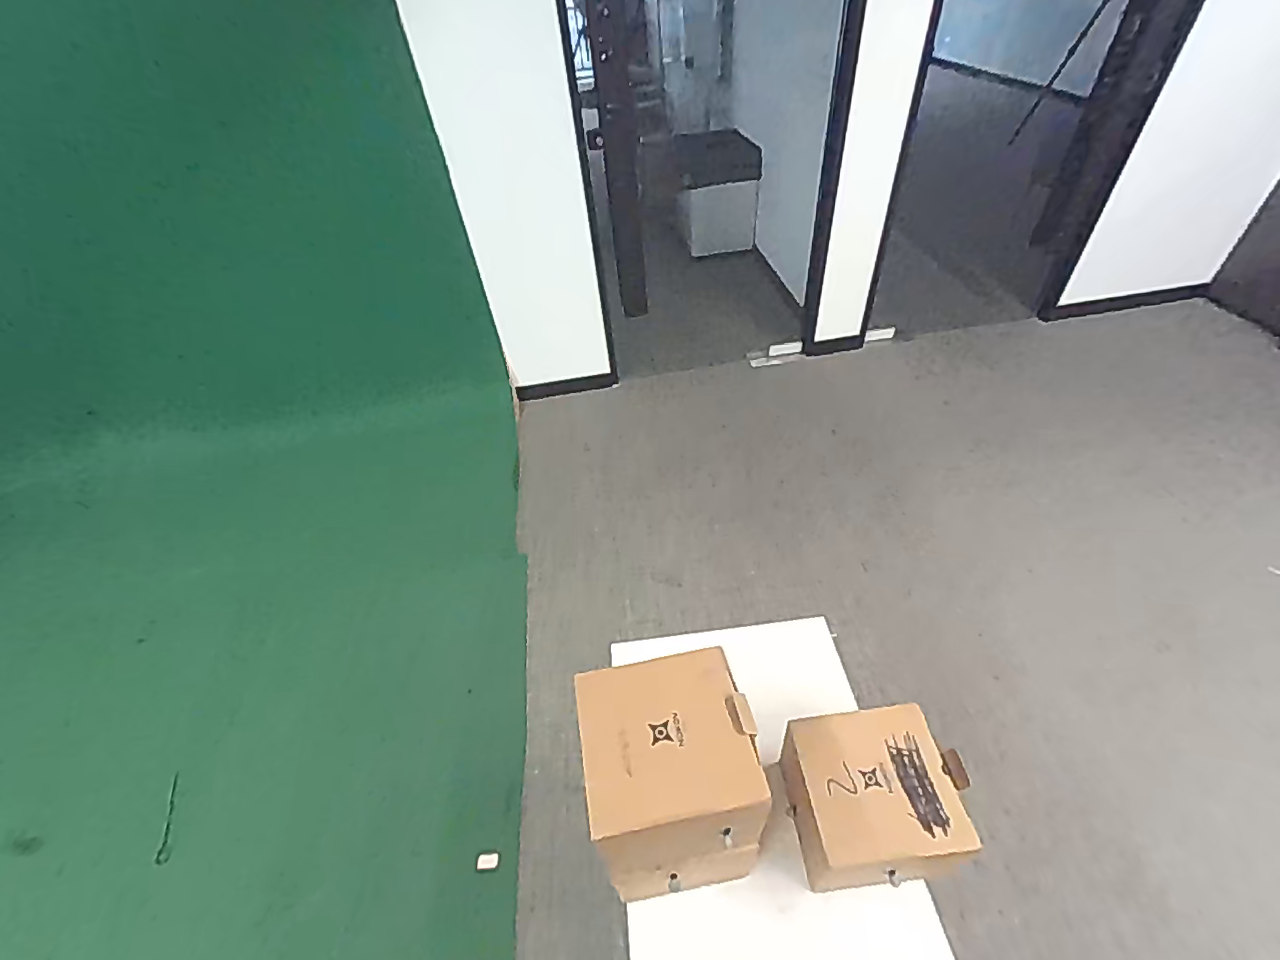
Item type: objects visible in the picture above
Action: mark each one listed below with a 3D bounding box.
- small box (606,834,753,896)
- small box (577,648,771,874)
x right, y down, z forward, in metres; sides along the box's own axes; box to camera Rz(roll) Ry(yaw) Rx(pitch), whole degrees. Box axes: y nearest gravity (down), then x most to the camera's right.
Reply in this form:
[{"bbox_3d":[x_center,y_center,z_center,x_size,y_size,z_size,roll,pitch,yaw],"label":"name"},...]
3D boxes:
[{"bbox_3d":[0.042,0.437,0.730,0.179,0.176,0.168,-9,45,-4],"label":"small box"},{"bbox_3d":[0.031,0.320,0.616,0.179,0.176,0.168,-10,44,-5],"label":"small box"}]
